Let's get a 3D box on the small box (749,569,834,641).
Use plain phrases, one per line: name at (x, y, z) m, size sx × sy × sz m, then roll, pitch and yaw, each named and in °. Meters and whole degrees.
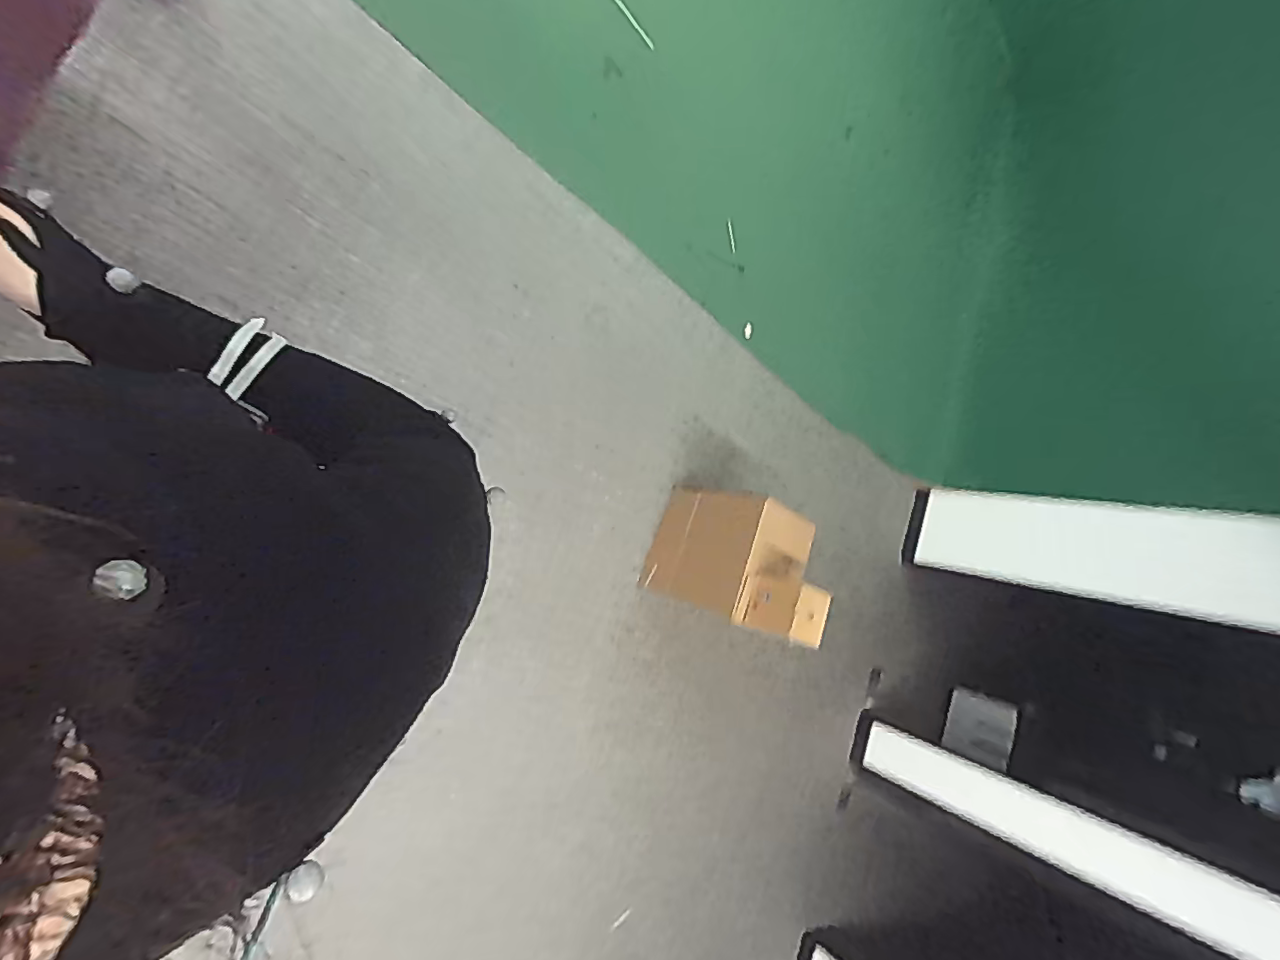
small box at (0.472, 0.387, 1.689) m, size 0.179 × 0.176 × 0.168 m, roll 26°, pitch 78°, yaw -38°
